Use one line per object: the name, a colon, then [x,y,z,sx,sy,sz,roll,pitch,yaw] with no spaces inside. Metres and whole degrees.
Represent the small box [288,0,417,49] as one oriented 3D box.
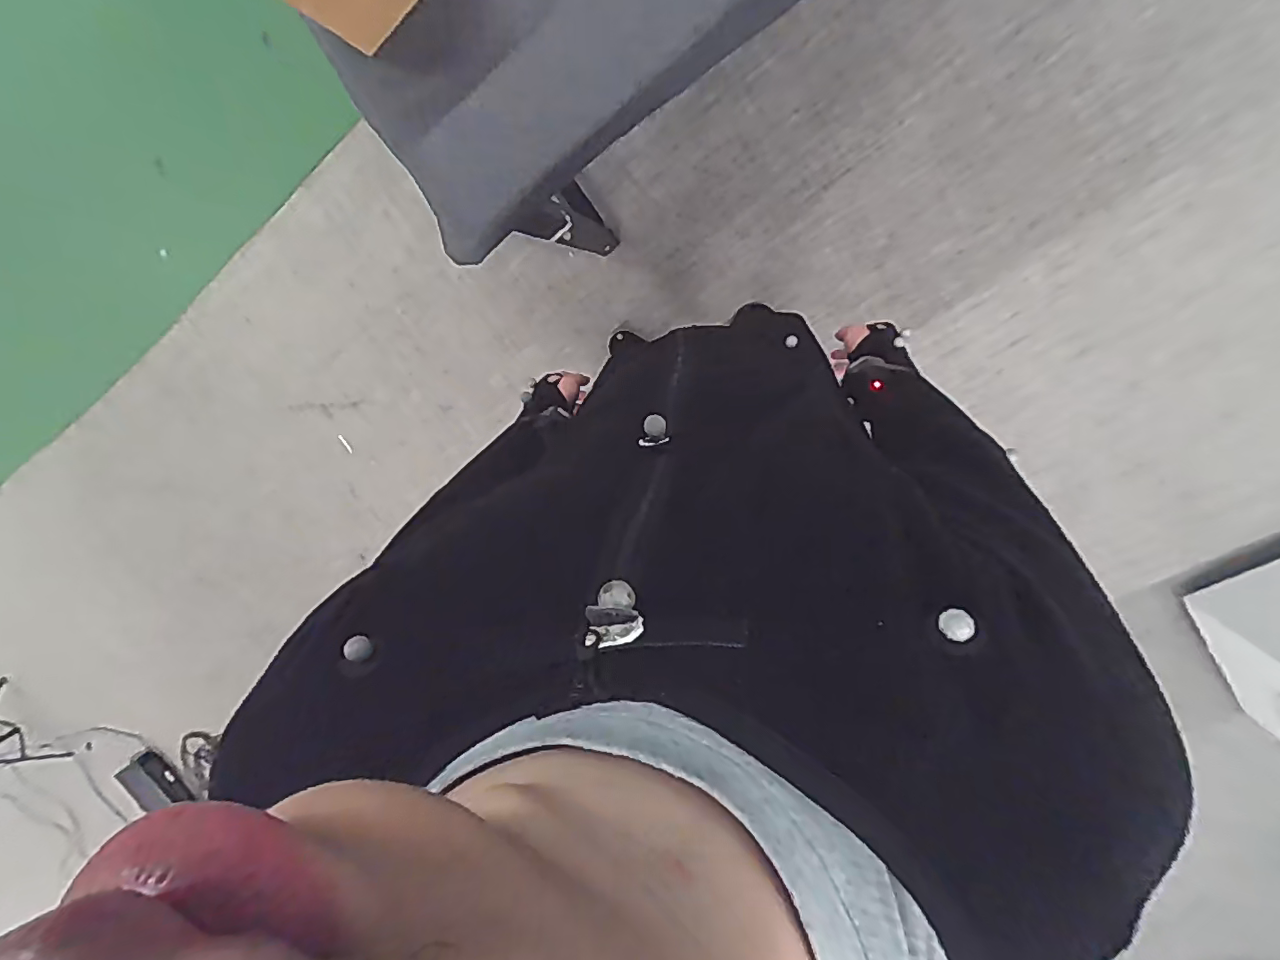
small box: [-0.340,-0.634,0.586,0.179,0.176,0.168,-33,100,19]
